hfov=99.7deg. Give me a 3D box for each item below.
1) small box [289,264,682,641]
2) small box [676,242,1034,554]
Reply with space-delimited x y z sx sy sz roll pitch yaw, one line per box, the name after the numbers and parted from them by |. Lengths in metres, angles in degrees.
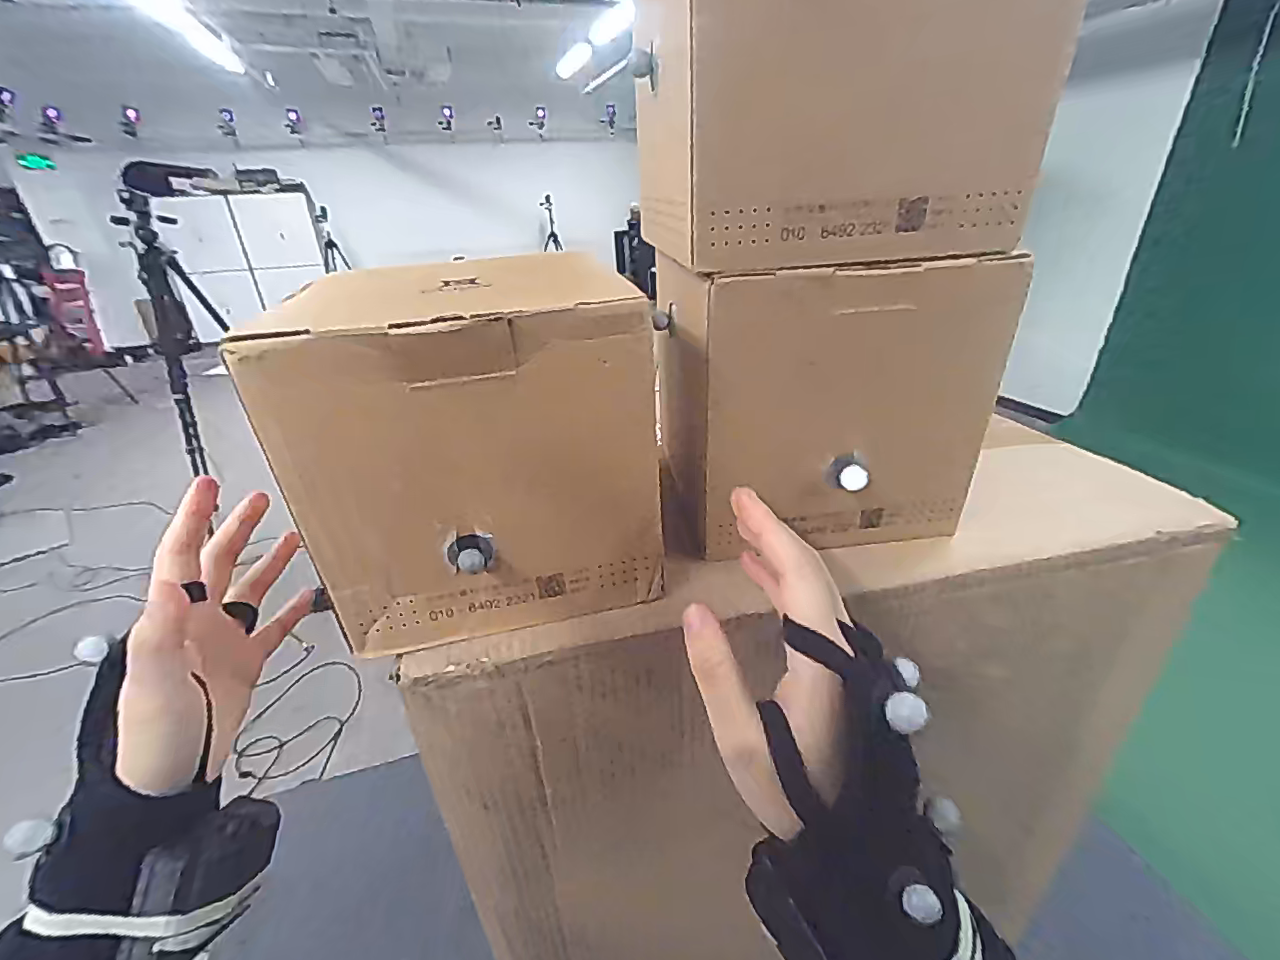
-0.078 -0.032 0.337 0.168 0.176 0.179 -8 30 -11 | small box
0.118 -0.068 0.386 0.168 0.176 0.179 -6 30 -5 | small box
